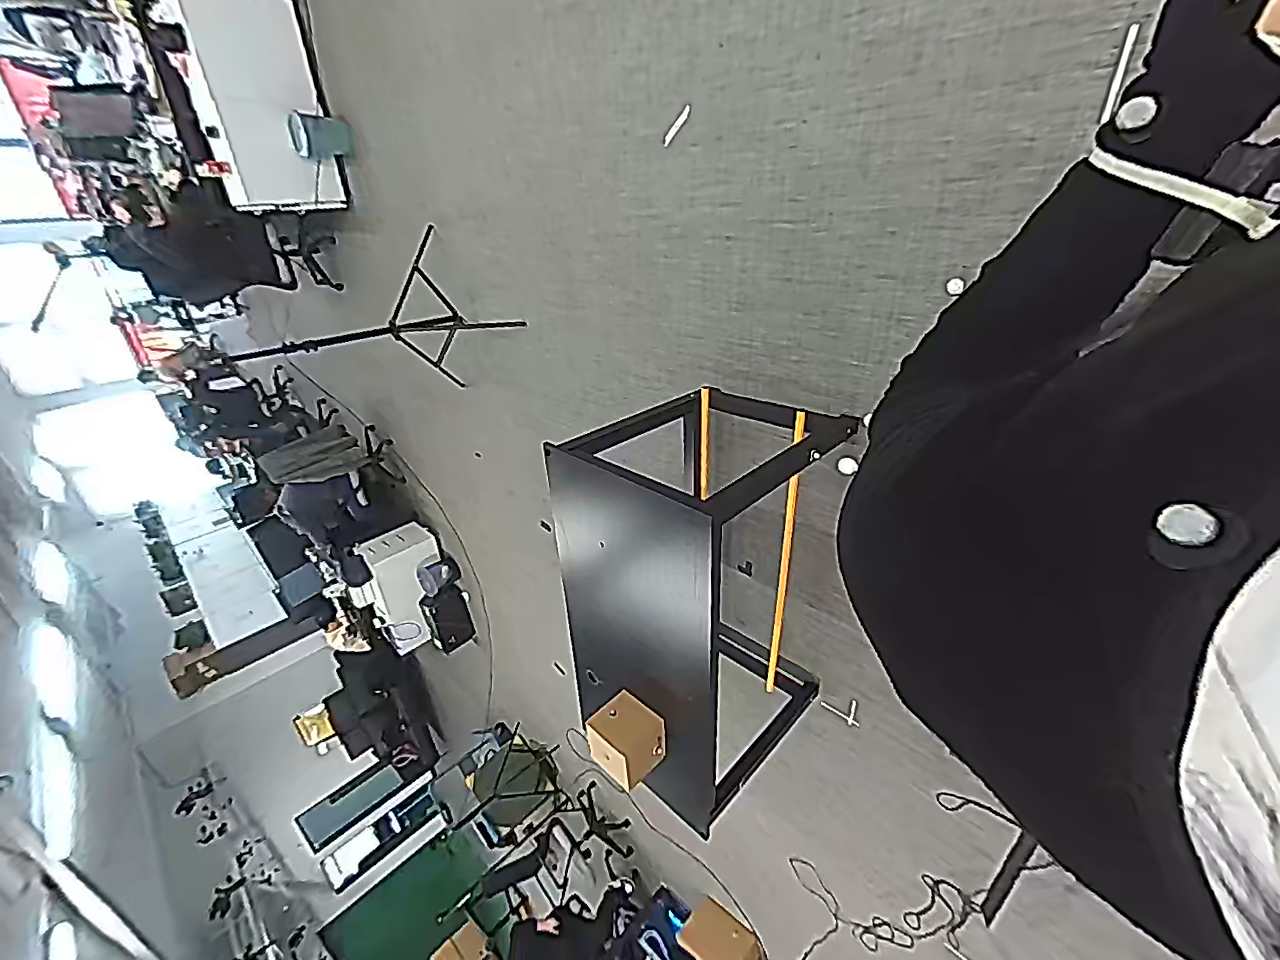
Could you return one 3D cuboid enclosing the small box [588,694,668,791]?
[{"bbox_3d":[-0.033,0.788,1.649,0.179,0.176,0.168,21,127,41],"label":"small box"}]
